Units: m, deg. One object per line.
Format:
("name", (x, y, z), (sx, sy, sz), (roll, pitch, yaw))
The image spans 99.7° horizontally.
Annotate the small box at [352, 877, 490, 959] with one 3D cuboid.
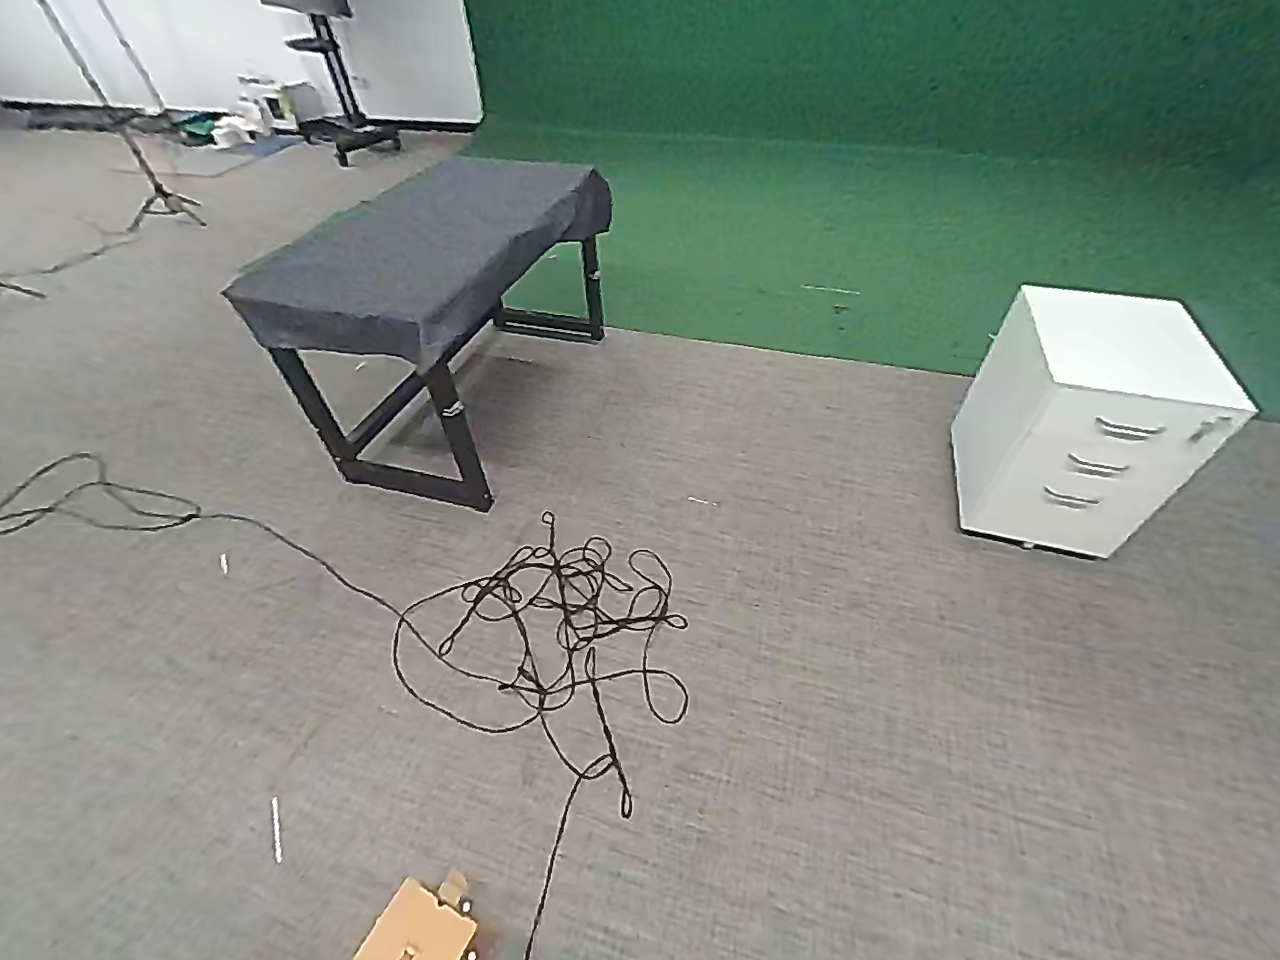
("small box", (-0.392, 0.866, 0.970), (0.168, 0.176, 0.179), (19, 48, 19))
